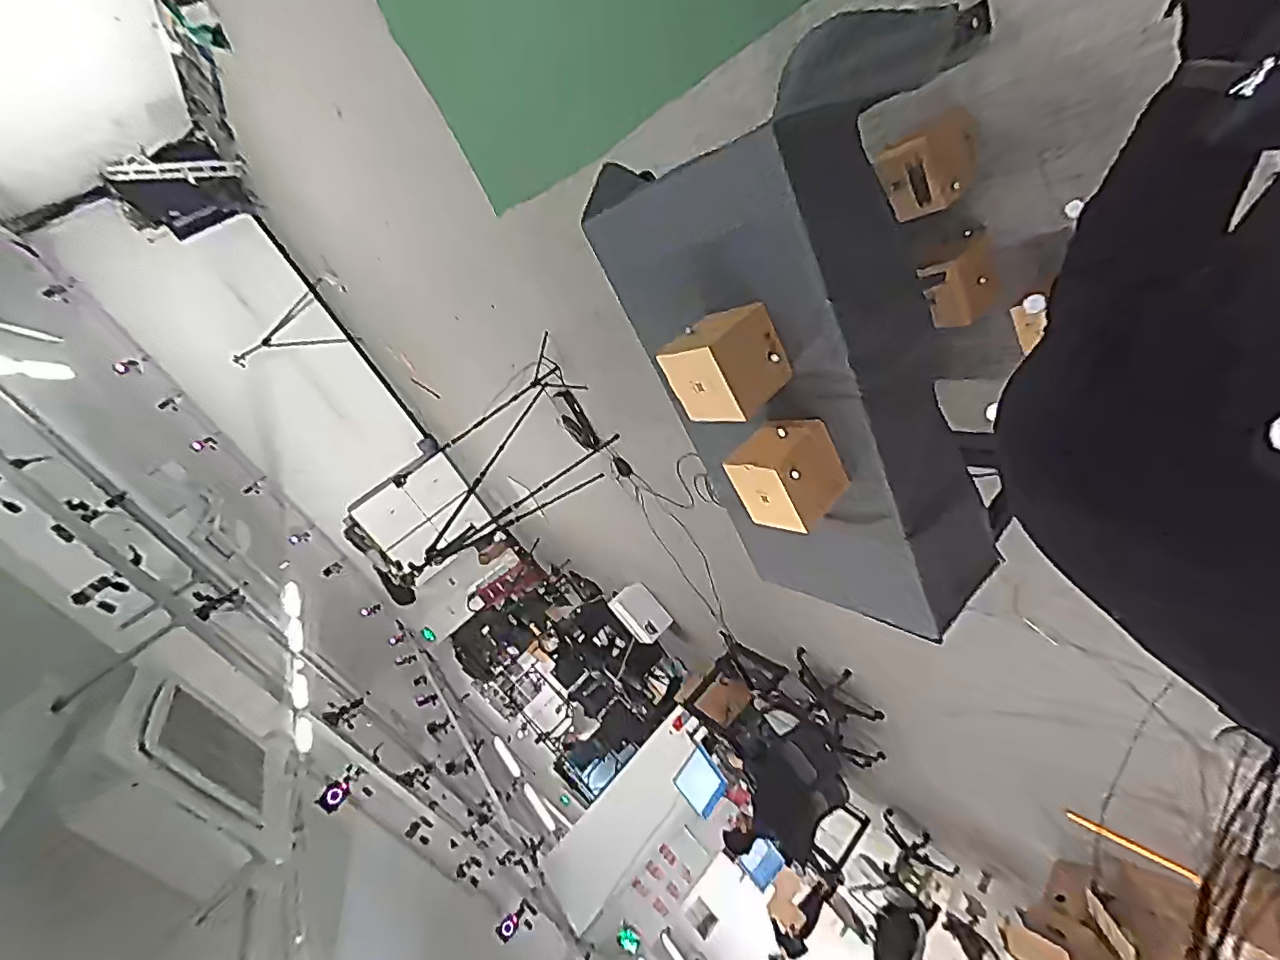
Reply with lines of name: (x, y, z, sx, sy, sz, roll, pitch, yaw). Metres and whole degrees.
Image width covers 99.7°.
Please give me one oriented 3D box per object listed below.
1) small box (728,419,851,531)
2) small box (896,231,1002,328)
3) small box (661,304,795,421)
small box: (0.336, -0.017, 1.201, 0.168, 0.176, 0.179, 8, 136, 59)
small box: (0.810, -0.527, 1.414, 0.168, 0.176, 0.179, 12, 140, 57)
small box: (0.183, -0.237, 1.111, 0.179, 0.176, 0.168, 11, 139, 57)
